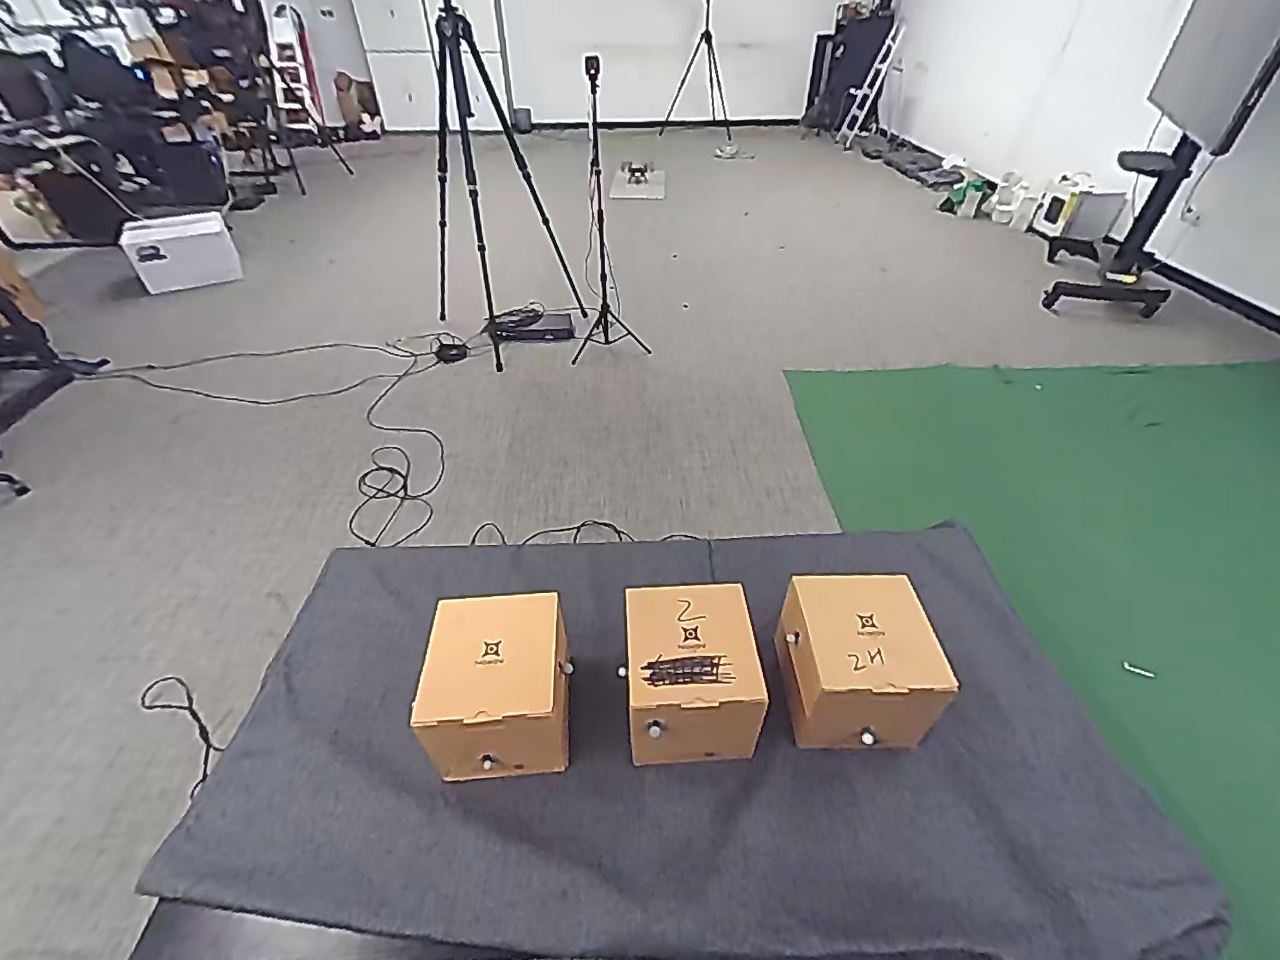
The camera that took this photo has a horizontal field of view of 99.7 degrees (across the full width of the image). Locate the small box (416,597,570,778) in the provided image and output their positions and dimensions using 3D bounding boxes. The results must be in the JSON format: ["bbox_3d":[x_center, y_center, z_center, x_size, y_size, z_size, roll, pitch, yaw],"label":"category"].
[{"bbox_3d":[-0.188,0.285,0.750,0.168,0.176,0.179,-3,42,-3],"label":"small box"}]
